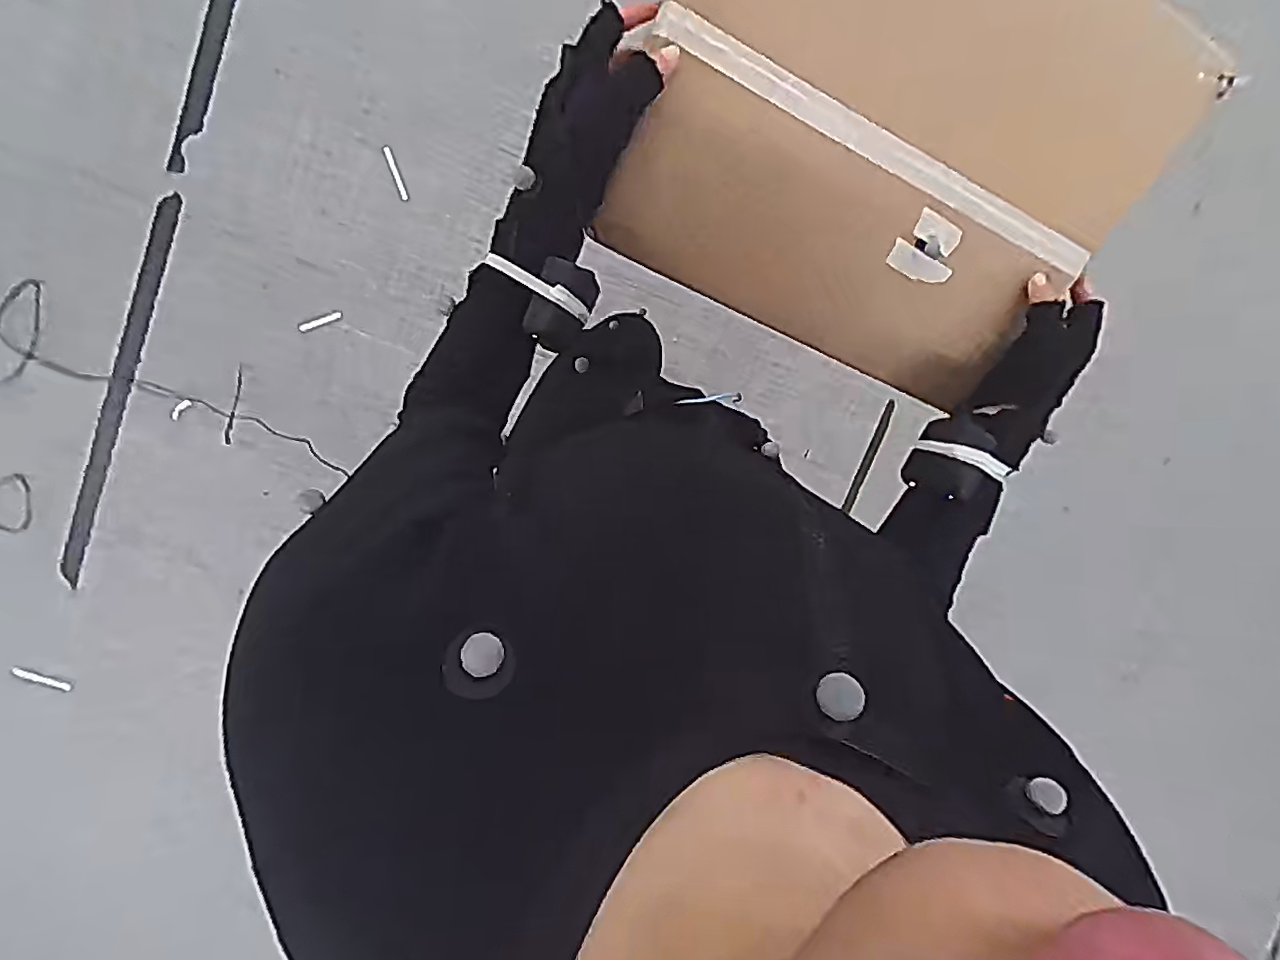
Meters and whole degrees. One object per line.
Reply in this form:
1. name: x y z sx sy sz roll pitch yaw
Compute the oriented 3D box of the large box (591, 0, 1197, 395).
1. large box: 0.189 -0.344 0.572 0.408 0.320 0.320 20 118 -14
